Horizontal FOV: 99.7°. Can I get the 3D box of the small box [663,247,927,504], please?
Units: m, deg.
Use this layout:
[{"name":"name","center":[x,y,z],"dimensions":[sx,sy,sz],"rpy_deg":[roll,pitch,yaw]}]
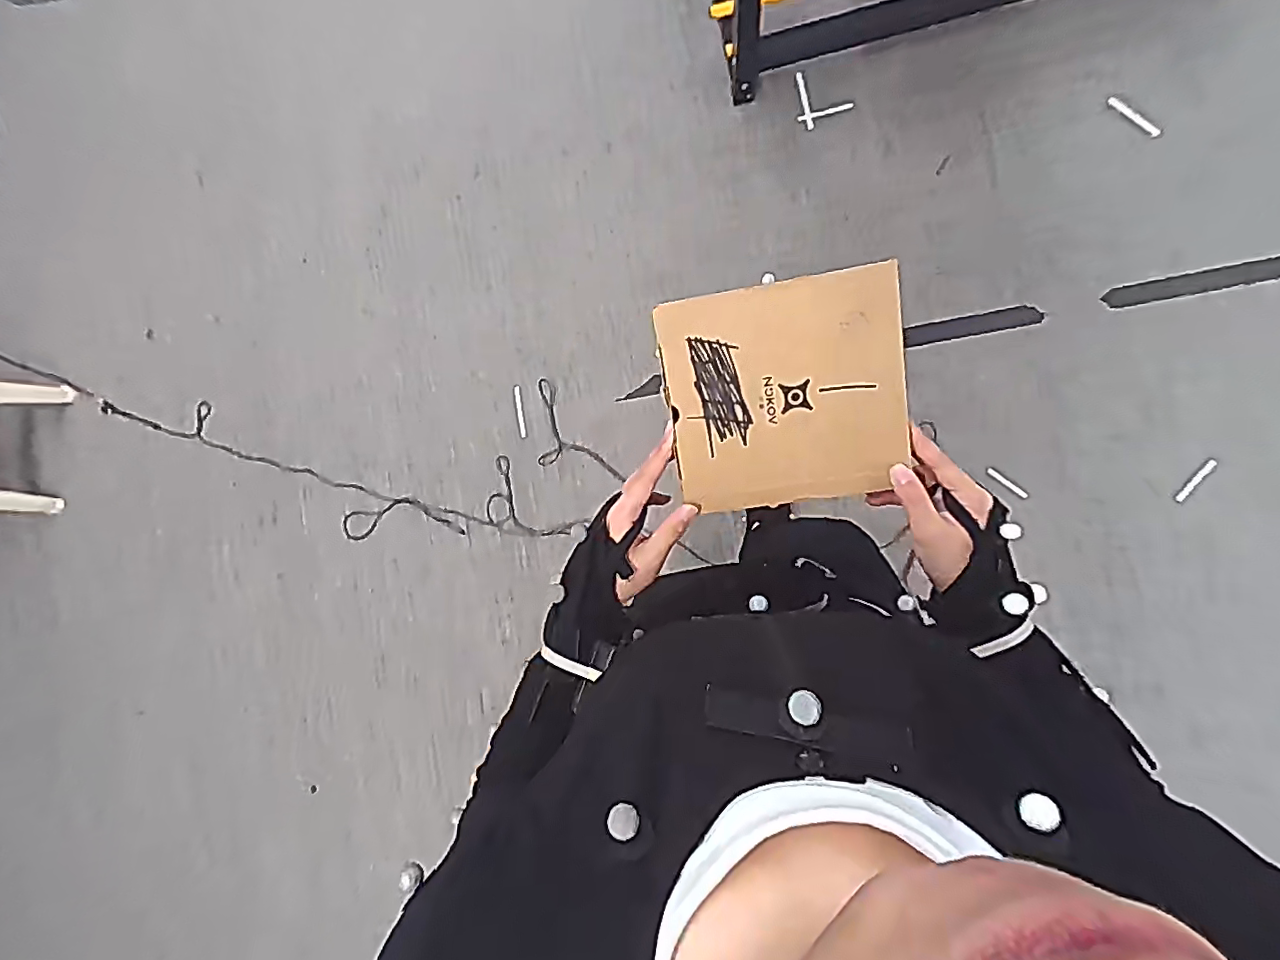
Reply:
[{"name":"small box","center":[0.123,-0.086,0.471],"dimensions":[0.179,0.176,0.168],"rpy_deg":[-8,102,8]}]
